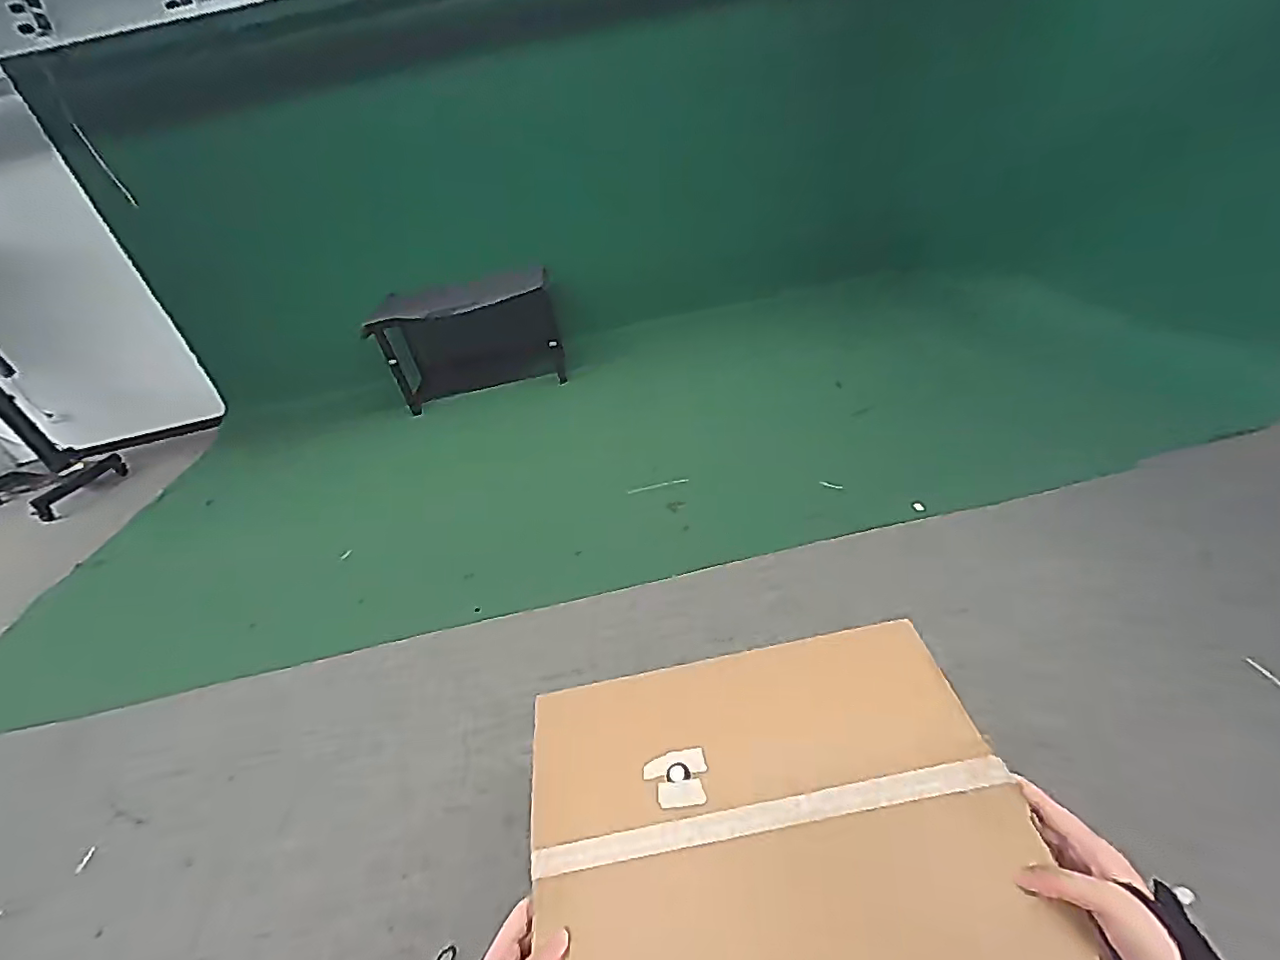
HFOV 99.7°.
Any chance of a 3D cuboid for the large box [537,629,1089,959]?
[{"bbox_3d":[0.134,0.410,0.566,0.408,0.320,0.320,-14,40,2],"label":"large box"}]
